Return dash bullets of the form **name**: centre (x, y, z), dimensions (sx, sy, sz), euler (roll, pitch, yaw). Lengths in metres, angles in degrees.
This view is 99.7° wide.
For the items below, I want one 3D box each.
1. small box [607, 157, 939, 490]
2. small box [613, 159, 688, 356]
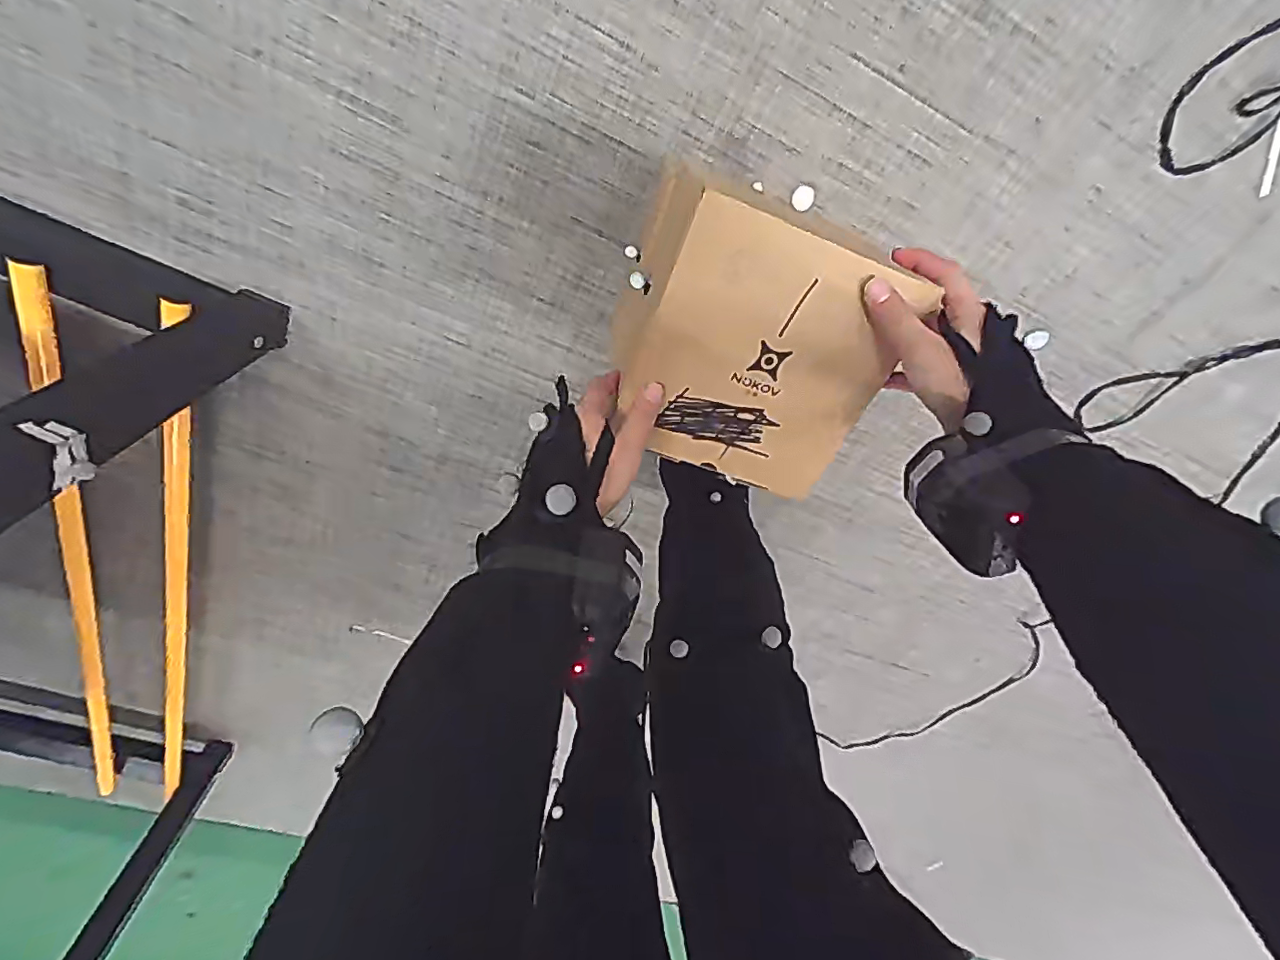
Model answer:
- **small box**: centre (0.082, -0.127, 0.429), dimensions (0.168, 0.176, 0.179), euler (17, 123, -13)
- **small box**: centre (0.076, -0.213, 0.569), dimensions (0.168, 0.176, 0.179), euler (17, 123, -11)
